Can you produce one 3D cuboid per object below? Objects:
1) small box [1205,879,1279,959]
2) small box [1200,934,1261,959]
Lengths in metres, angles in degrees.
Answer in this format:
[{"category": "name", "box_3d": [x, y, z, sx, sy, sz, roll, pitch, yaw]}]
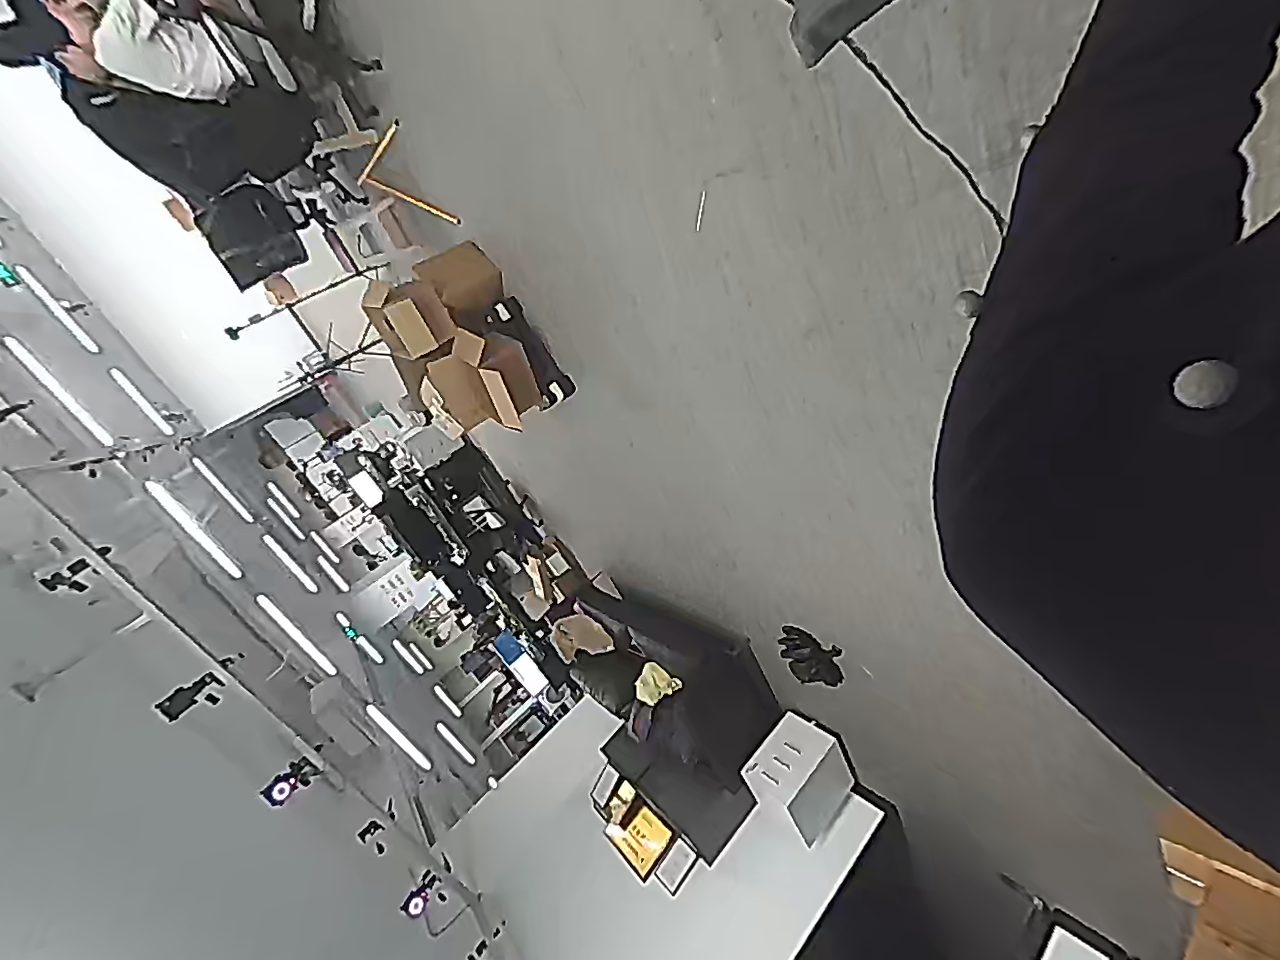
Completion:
[{"category": "small box", "box_3d": [1.636, 1.210, 1.415, 0.179, 0.176, 0.168, 4, 127, 60]}, {"category": "small box", "box_3d": [1.518, 1.300, 1.345, 0.168, 0.176, 0.179, 2, 125, 59]}]
